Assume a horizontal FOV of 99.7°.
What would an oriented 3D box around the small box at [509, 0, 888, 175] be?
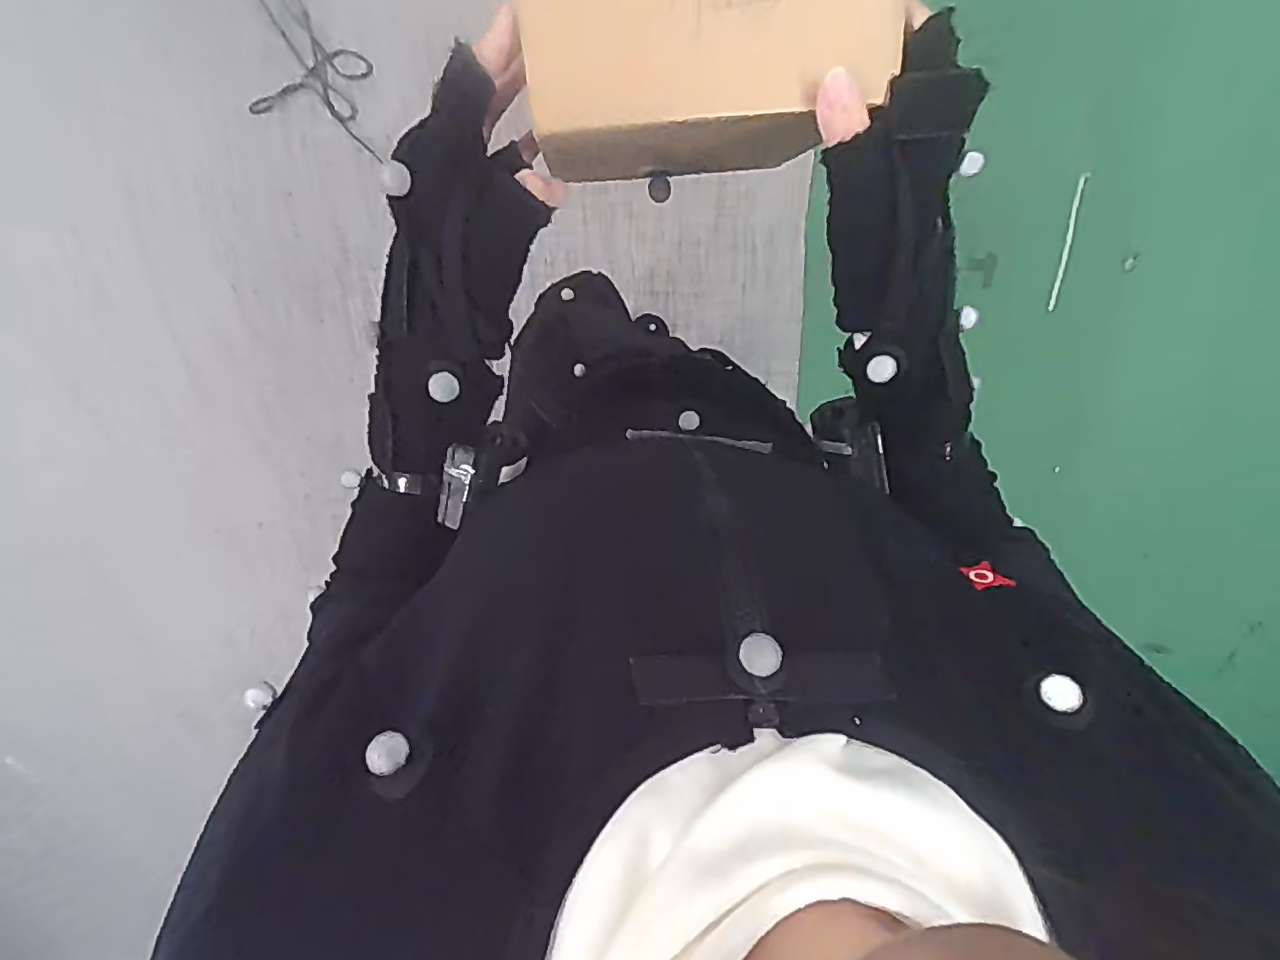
[{"bbox_3d":[0.015,-0.278,0.286,0.168,0.176,0.179,-6,112,-2],"label":"small box"}]
